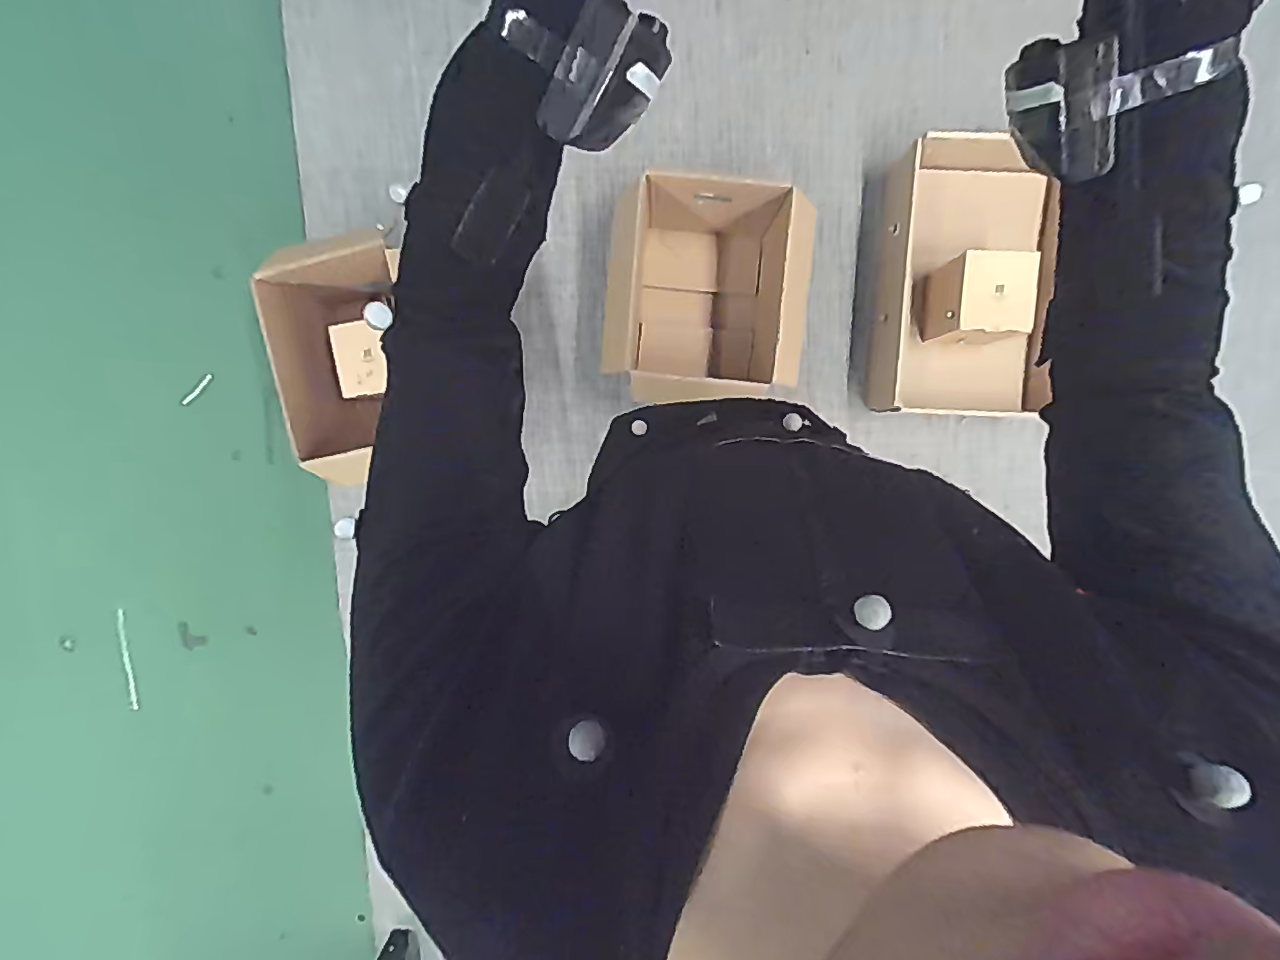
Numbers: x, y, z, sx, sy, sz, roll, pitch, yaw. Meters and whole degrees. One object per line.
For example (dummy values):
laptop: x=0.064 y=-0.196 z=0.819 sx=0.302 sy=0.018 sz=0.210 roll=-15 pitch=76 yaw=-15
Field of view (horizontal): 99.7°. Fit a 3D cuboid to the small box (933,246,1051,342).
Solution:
small box: x=0.812 y=-0.427 z=1.262 sx=0.168 sy=0.176 sz=0.179 roll=2 pitch=96 yaw=2
